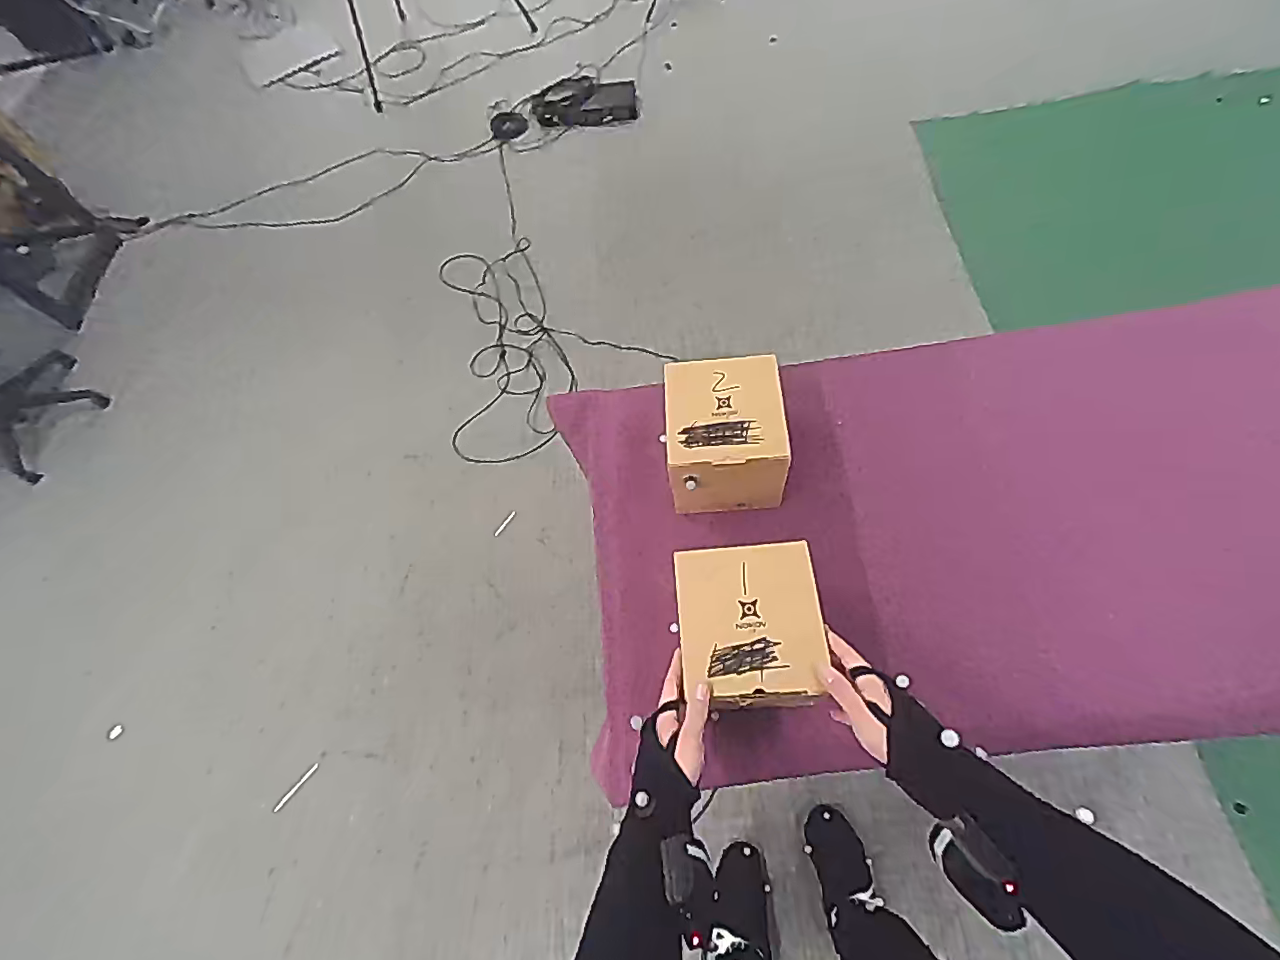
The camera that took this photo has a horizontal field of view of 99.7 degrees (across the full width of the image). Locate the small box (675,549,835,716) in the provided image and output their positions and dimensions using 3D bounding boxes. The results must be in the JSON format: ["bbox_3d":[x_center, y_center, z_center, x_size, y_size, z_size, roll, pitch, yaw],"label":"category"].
[{"bbox_3d":[0.137,0.203,0.692,0.168,0.176,0.179,-5,62,5],"label":"small box"}]
